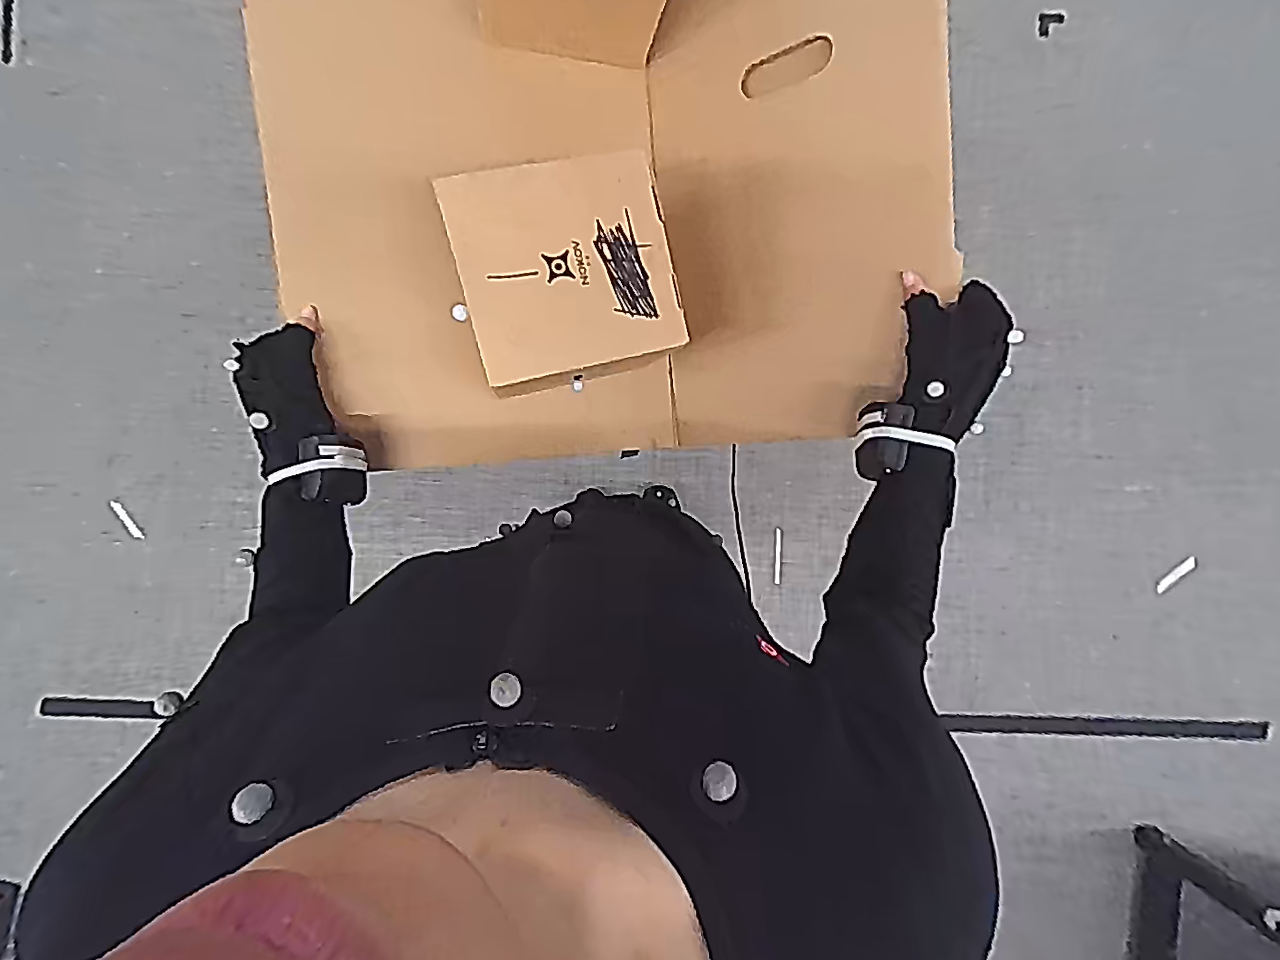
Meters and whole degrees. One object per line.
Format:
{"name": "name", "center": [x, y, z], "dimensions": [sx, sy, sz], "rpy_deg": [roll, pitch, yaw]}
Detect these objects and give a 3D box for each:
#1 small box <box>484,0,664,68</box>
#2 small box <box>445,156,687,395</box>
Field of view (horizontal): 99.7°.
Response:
{"name": "small box", "center": [-0.058, -0.533, 0.507], "dimensions": [0.179, 0.176, 0.168], "rpy_deg": [0, 94, -13]}
{"name": "small box", "center": [-0.074, -0.184, 0.530], "dimensions": [0.179, 0.176, 0.168], "rpy_deg": [-15, 98, -11]}
